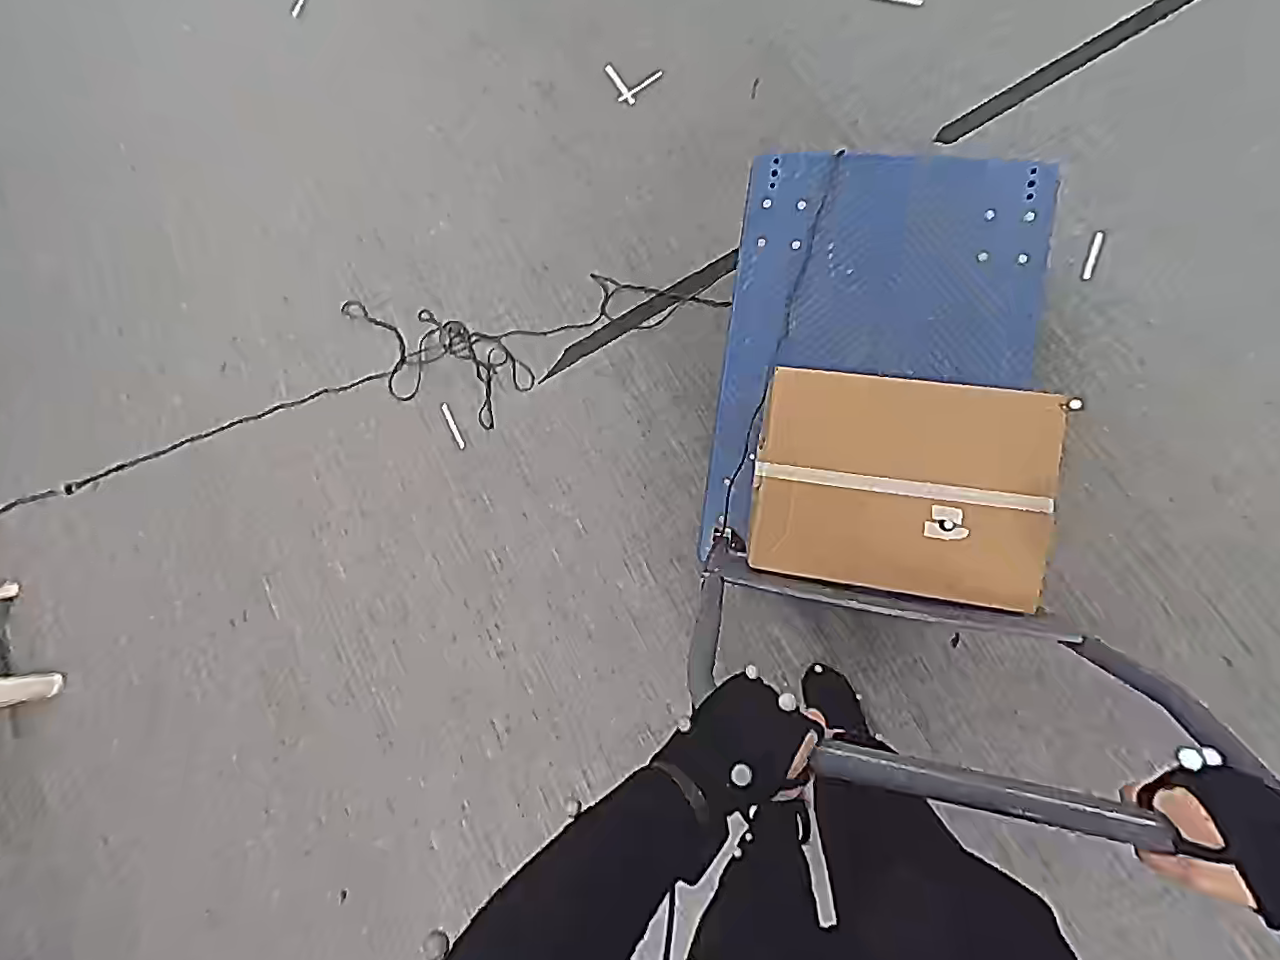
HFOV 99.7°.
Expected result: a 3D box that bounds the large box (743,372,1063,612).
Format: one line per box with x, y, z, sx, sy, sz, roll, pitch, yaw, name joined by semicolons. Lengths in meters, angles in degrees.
0.398;0.012;0.931;0.408;0.320;0.320;8;93;9;large box
